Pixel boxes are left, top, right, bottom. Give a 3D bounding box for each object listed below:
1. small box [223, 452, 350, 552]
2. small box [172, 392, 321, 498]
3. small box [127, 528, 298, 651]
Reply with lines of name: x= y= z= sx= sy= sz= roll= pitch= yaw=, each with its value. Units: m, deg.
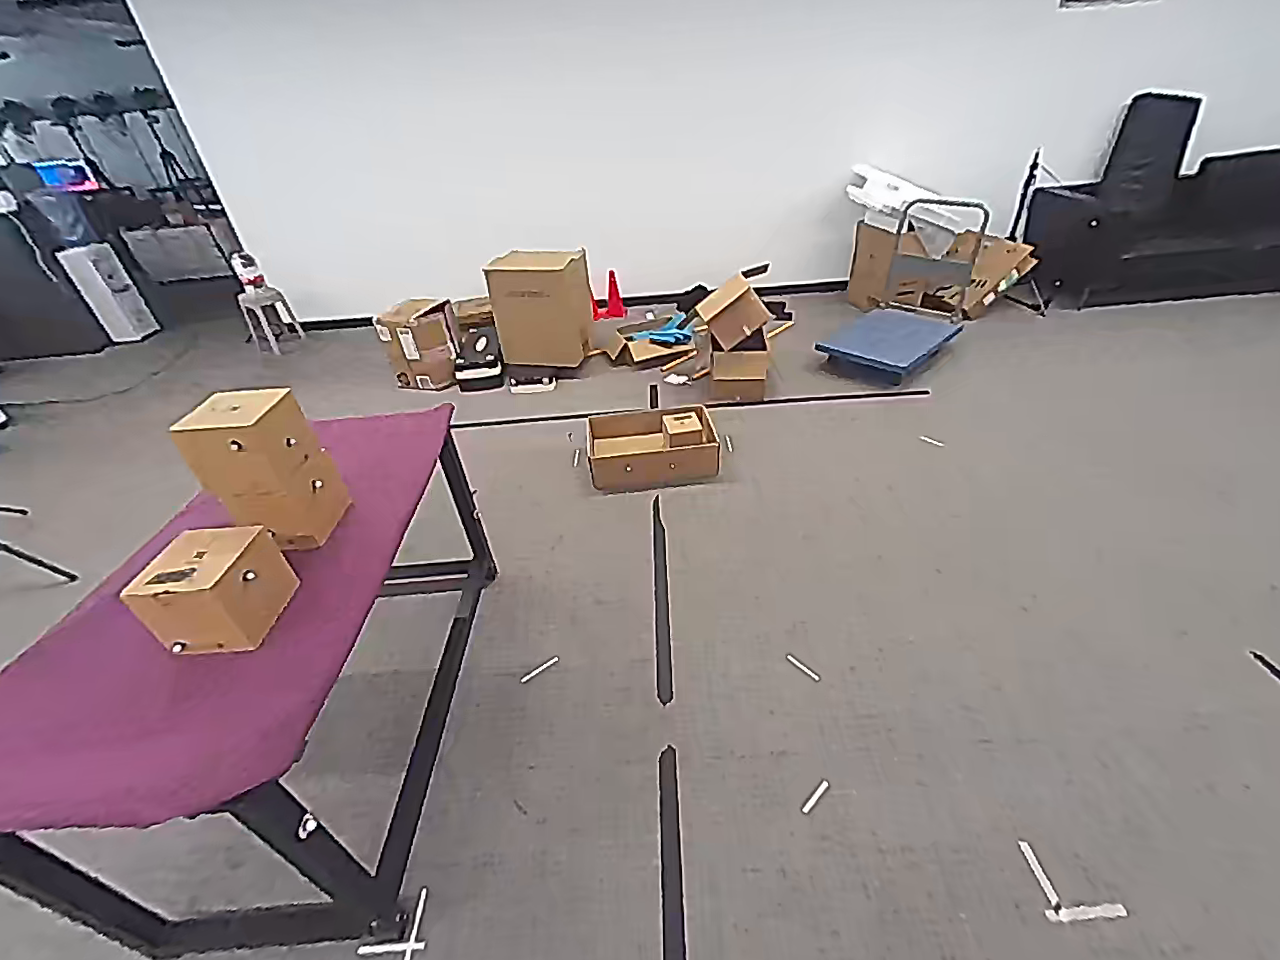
small box: x=-0.824 y=0.052 z=1.287 sx=0.168 sy=0.176 sz=0.179 roll=-4 pitch=36 yaw=2
small box: x=-0.844 y=-0.077 z=1.185 sx=0.179 sy=0.176 sz=0.168 roll=-4 pitch=36 yaw=2
small box: x=-0.810 y=0.216 z=1.053 sx=0.168 sy=0.176 sz=0.179 roll=-4 pitch=35 yaw=2
